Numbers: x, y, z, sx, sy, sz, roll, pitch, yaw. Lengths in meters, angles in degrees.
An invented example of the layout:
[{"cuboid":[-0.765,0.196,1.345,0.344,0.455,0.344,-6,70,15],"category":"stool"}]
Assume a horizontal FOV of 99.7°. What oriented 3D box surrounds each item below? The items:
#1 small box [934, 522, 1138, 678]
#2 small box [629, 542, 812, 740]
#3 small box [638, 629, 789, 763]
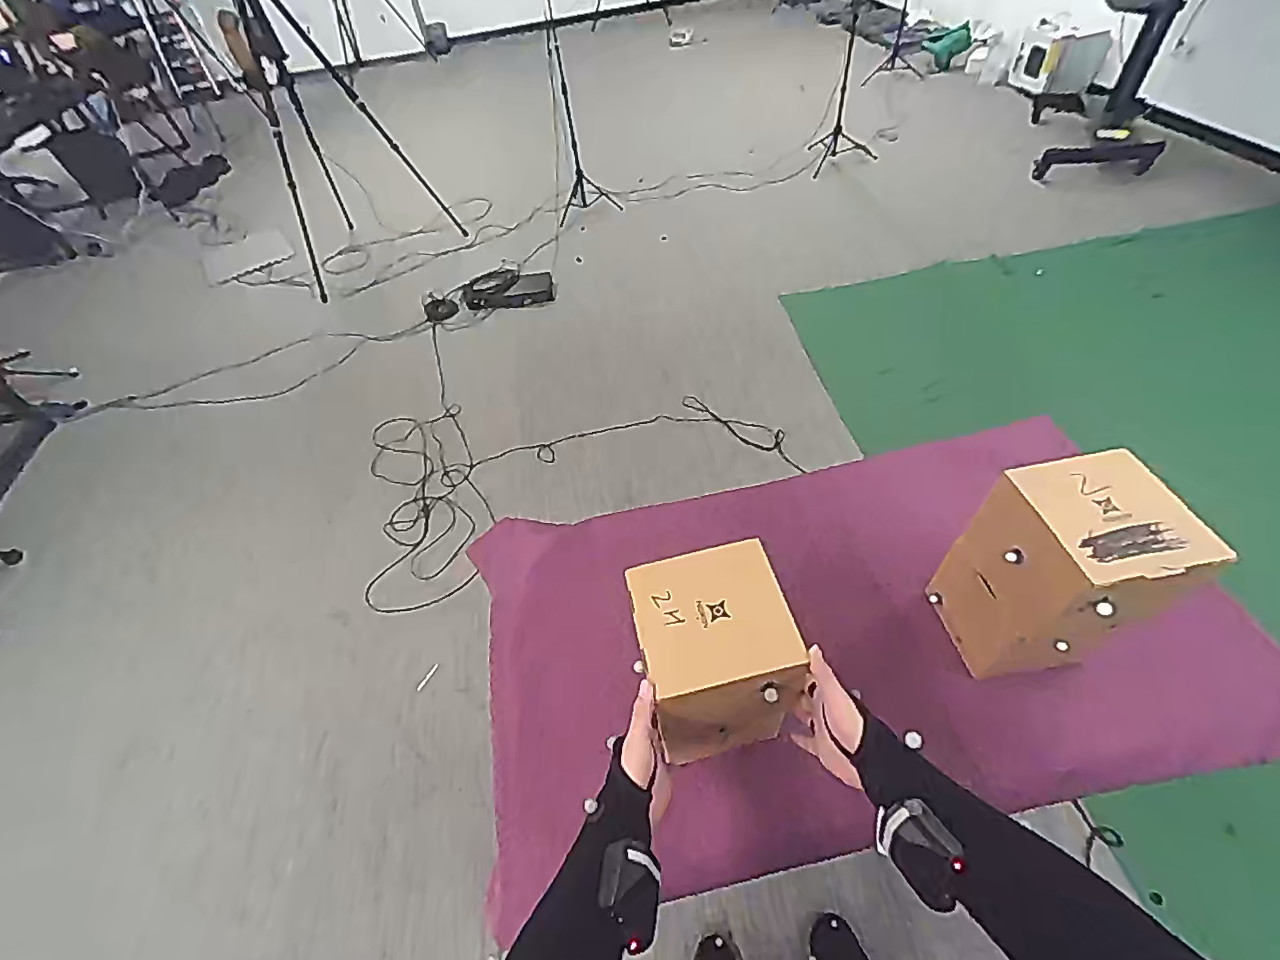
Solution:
[{"cuboid":[0.588,0.191,0.842,0.179,0.176,0.168,-10,50,-1],"category":"small box"},{"cuboid":[0.092,0.206,0.682,0.179,0.176,0.168,-13,50,-3],"category":"small box"},{"cuboid":[0.104,0.304,0.814,0.179,0.176,0.168,-14,50,-3],"category":"small box"}]
